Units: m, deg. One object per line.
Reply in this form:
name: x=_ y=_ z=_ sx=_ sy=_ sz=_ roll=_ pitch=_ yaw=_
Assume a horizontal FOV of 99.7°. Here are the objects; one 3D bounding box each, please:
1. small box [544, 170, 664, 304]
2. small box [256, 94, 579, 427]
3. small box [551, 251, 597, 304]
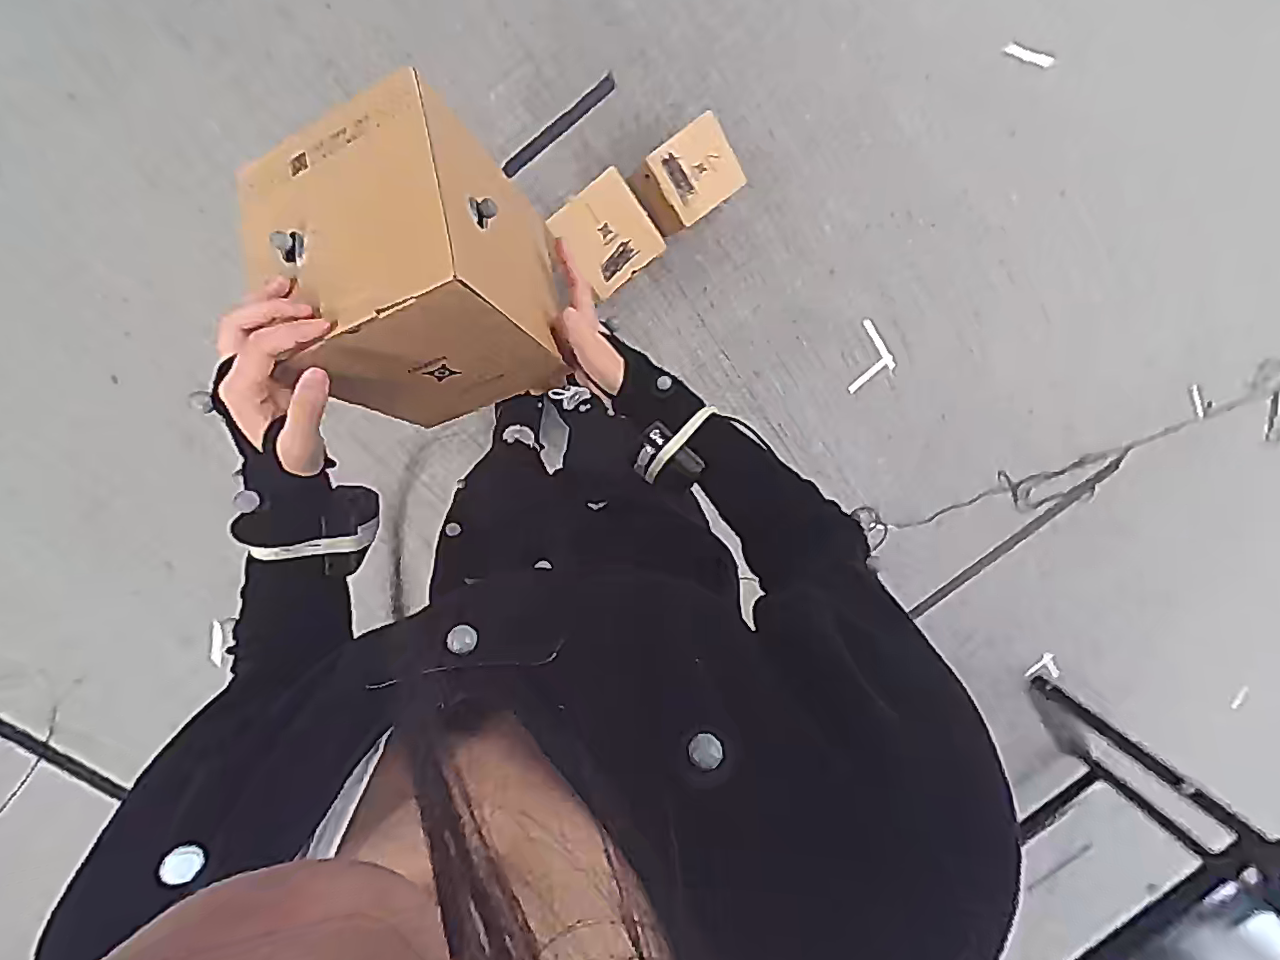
small box: x=-0.079 y=-0.479 z=1.089 sx=0.168 sy=0.176 sz=0.179 roll=-39 pitch=111 yaw=1
small box: x=-0.172 y=-0.164 z=0.439 sx=0.168 sy=0.179 sz=0.176 roll=-17 pitch=78 yaw=15
small box: x=-0.106 y=-0.523 z=1.245 sx=0.168 sy=0.176 sz=0.179 roll=-36 pitch=112 yaw=1
